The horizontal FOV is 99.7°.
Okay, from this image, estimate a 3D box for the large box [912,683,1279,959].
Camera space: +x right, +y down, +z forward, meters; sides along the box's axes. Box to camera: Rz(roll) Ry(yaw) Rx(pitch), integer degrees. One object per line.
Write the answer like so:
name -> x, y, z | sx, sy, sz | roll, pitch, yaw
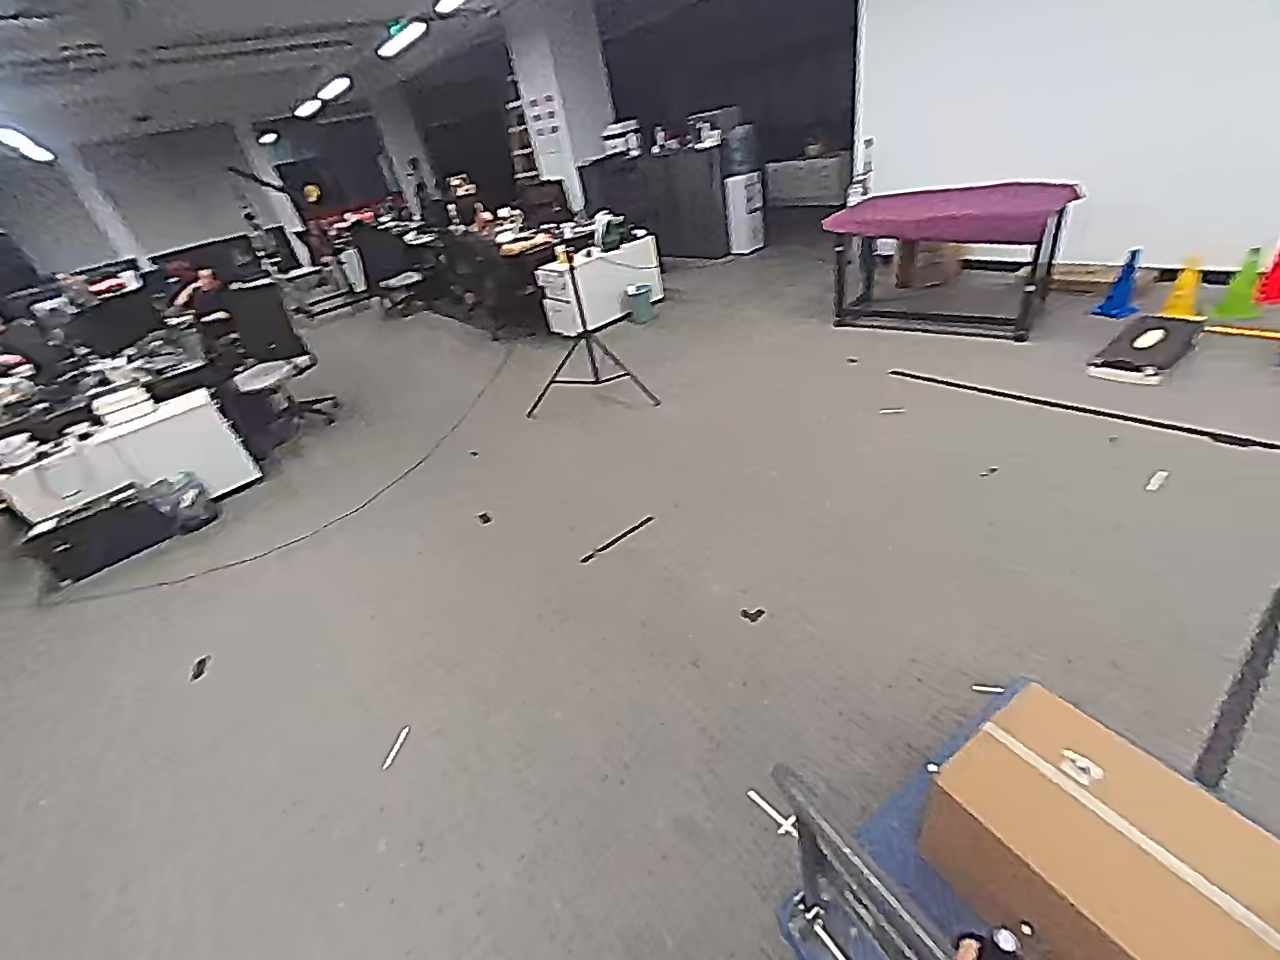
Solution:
large box -> 0.771, 0.670, 0.970 | 0.320, 0.320, 0.408 | -27, 35, -21
